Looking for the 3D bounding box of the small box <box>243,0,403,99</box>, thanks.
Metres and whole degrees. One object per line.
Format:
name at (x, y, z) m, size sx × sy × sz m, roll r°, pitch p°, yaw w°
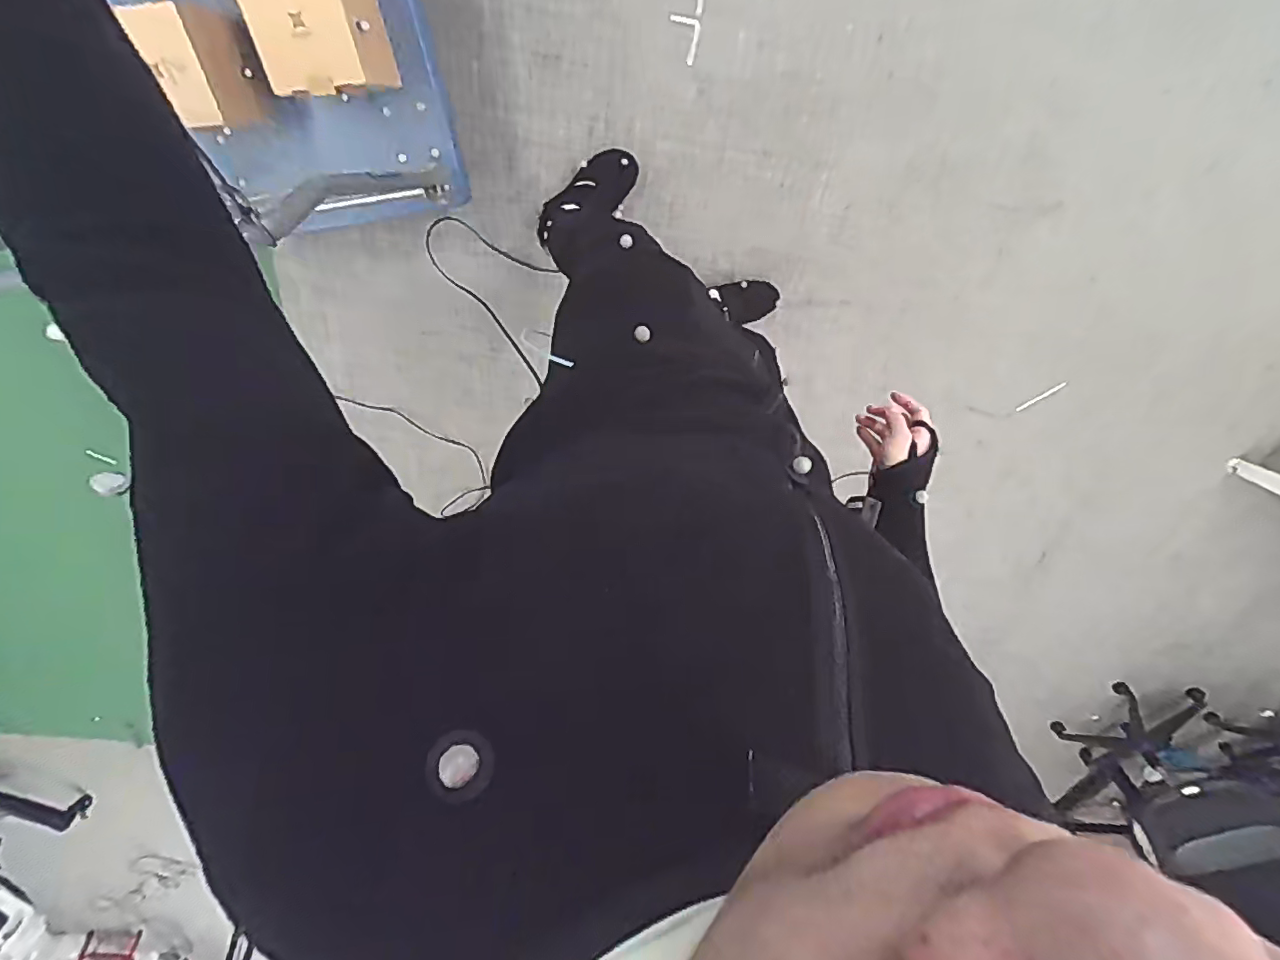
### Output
small box at (-0.545, -0.782, 0.942) m, size 0.168 × 0.176 × 0.179 m, roll -6°, pitch 125°, yaw 4°
